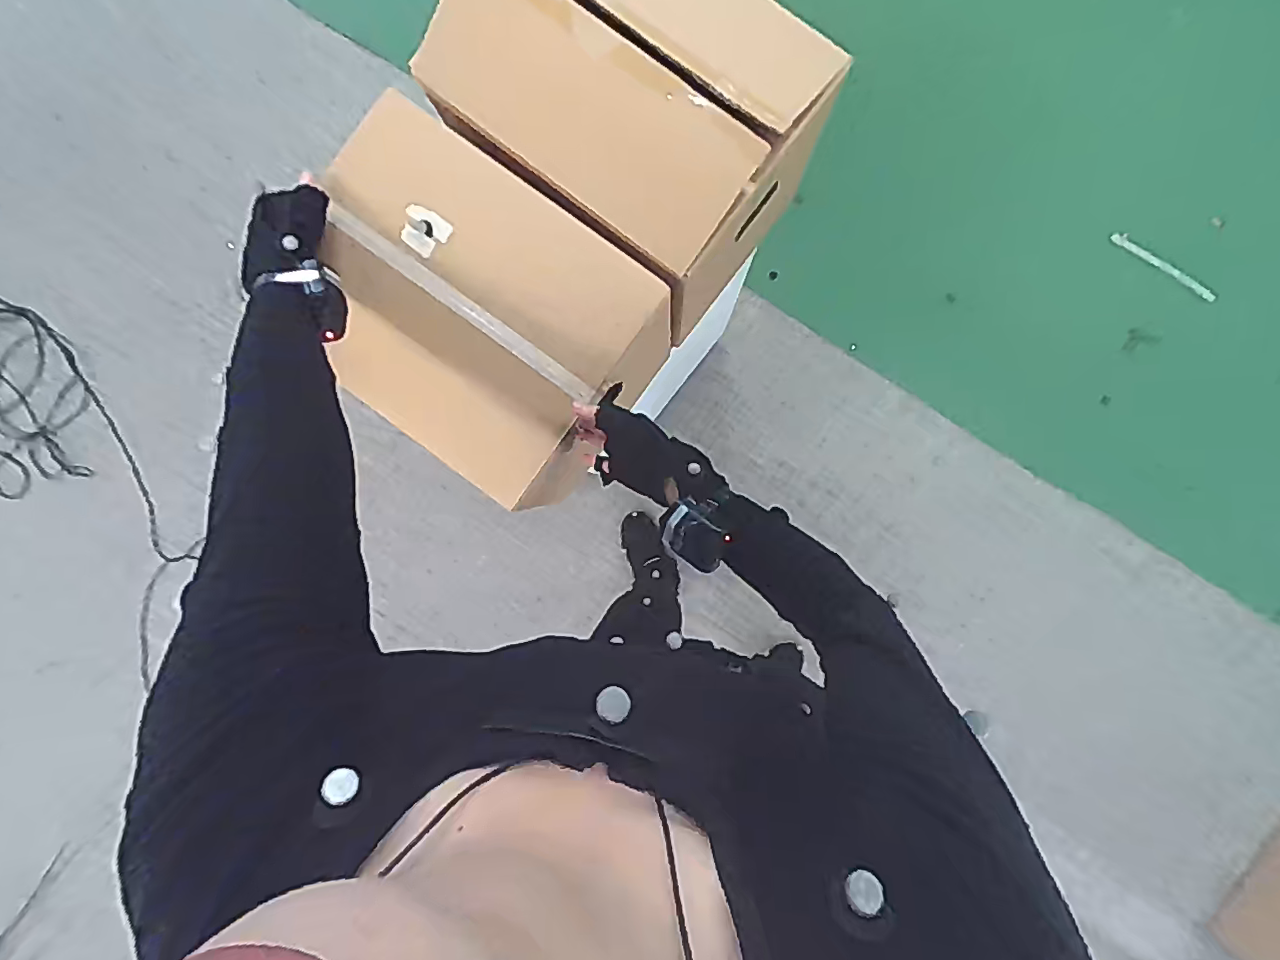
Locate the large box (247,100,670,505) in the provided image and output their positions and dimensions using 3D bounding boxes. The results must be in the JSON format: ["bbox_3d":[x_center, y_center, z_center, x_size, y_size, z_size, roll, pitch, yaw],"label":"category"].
[{"bbox_3d":[-0.207,-0.205,0.766,0.408,0.320,0.320,36,92,4],"label":"large box"}]
